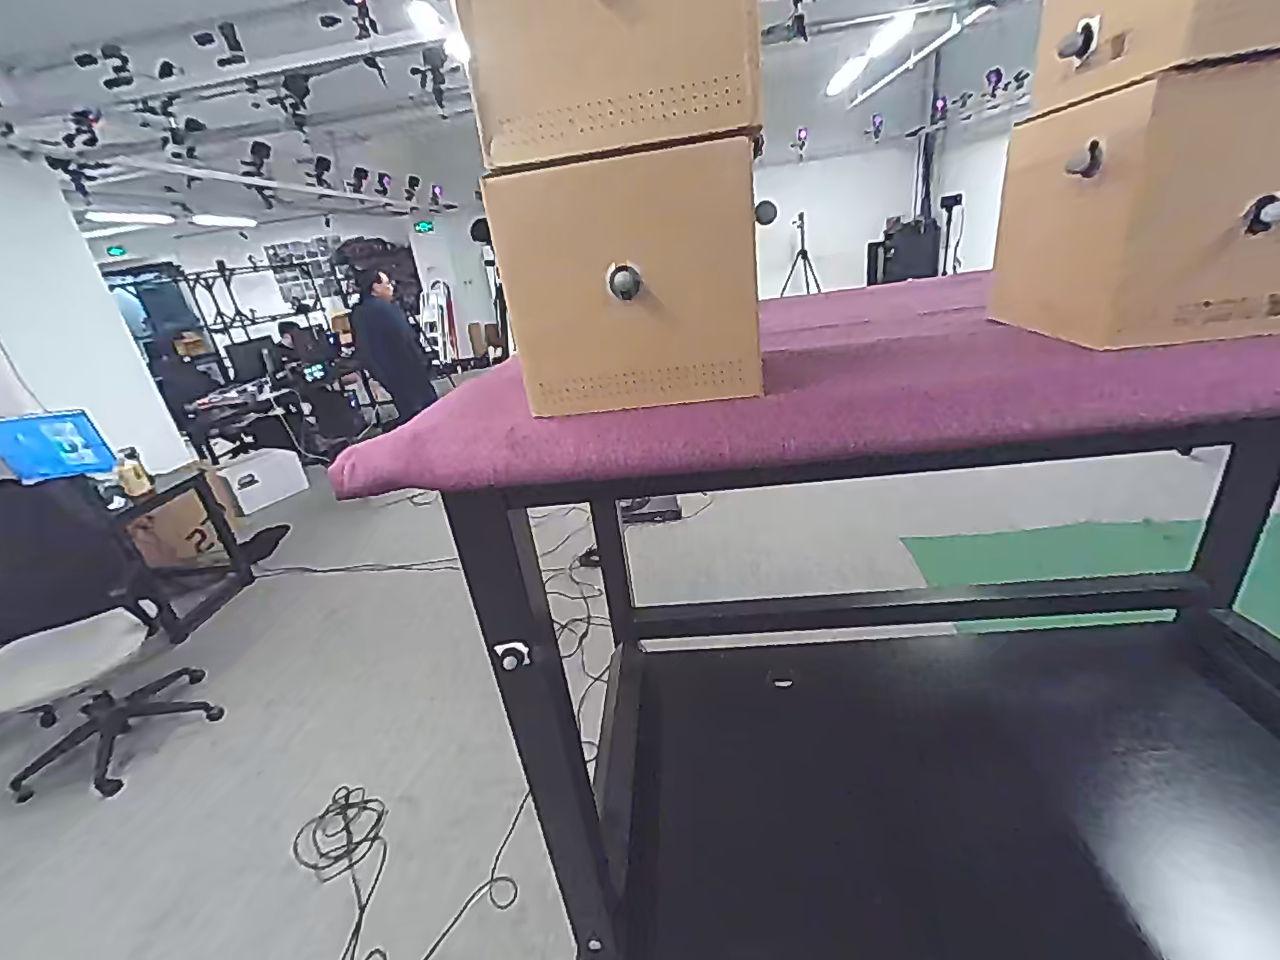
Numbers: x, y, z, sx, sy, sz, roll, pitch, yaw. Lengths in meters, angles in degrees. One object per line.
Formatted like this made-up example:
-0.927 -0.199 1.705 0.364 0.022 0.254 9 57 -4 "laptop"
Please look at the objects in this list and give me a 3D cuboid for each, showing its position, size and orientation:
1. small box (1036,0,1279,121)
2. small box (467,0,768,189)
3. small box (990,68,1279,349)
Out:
0.395 -0.344 0.341 0.179 0.176 0.168 -5 23 9 "small box"
-0.012 -0.305 0.373 0.179 0.176 0.168 -5 25 8 "small box"
0.406 -0.201 0.418 0.168 0.176 0.179 -3 24 8 "small box"
